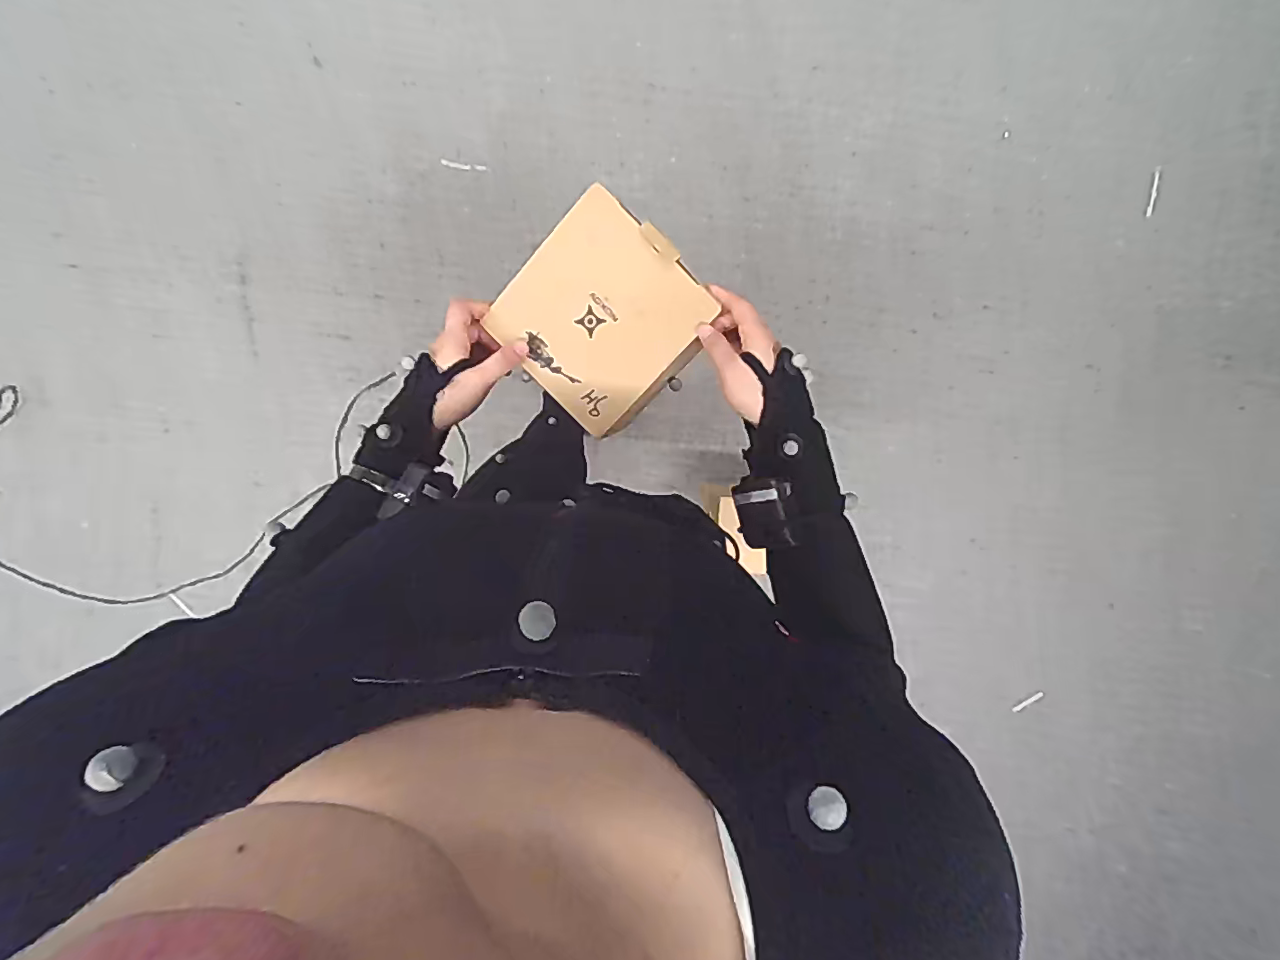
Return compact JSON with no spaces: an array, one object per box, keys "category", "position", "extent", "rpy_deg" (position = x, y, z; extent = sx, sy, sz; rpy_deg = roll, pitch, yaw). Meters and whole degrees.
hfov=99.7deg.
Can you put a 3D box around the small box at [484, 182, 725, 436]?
[{"category":"small box","position":[-0.029,-0.172,0.589],"extent":[0.168,0.176,0.179],"rpy_deg":[45,103,-2]}]

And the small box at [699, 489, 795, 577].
[{"category":"small box","position":[0.240,0.115,1.246],"extent":[0.179,0.176,0.168],"rpy_deg":[4,97,-2]}]
